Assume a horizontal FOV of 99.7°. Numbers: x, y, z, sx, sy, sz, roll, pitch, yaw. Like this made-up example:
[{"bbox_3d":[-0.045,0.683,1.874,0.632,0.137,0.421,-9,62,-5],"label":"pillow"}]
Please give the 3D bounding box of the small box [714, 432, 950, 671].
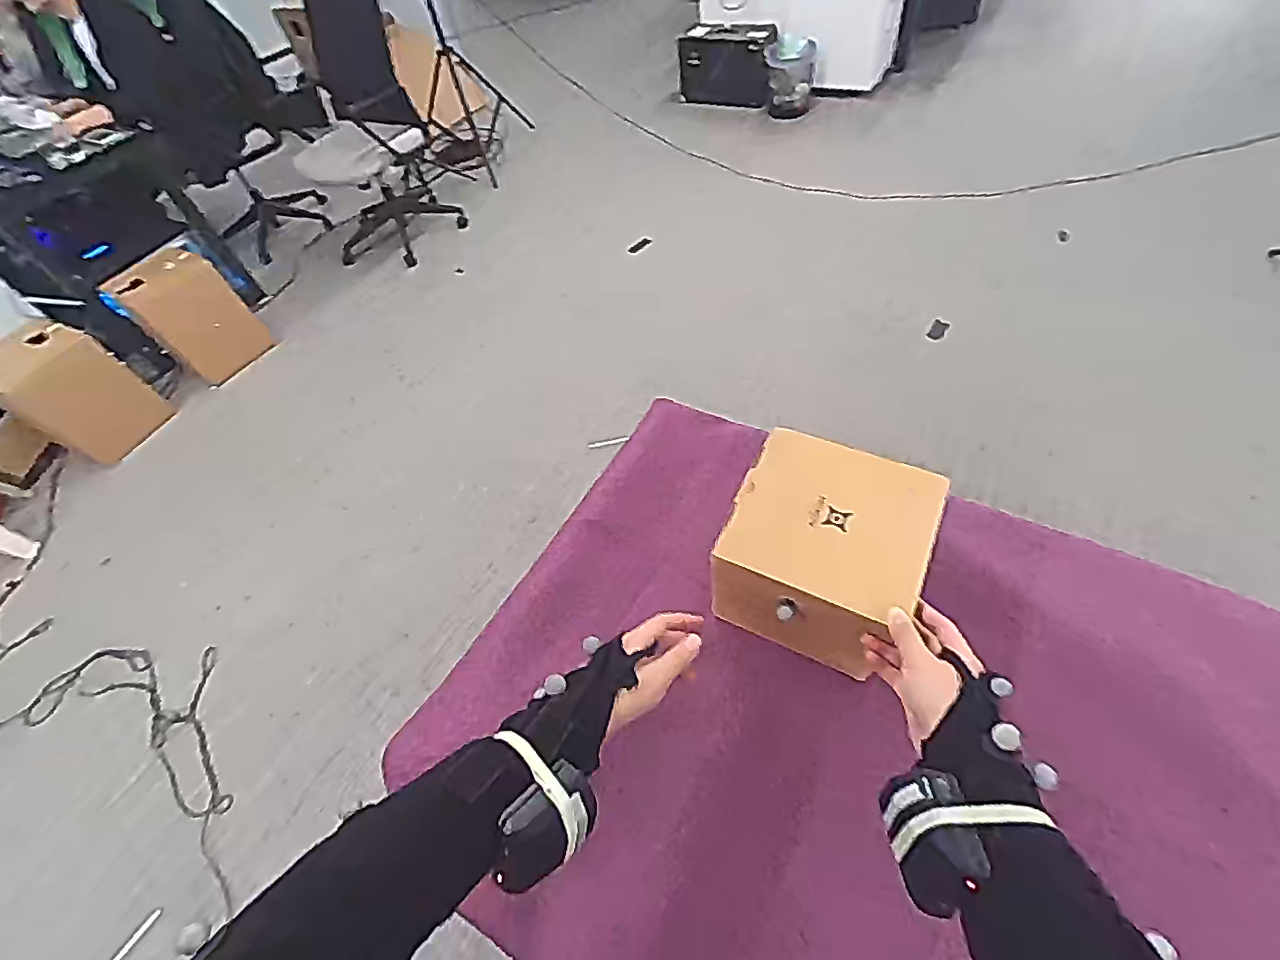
[{"bbox_3d":[0.191,0.083,0.573,0.179,0.176,0.168,21,62,21],"label":"small box"}]
